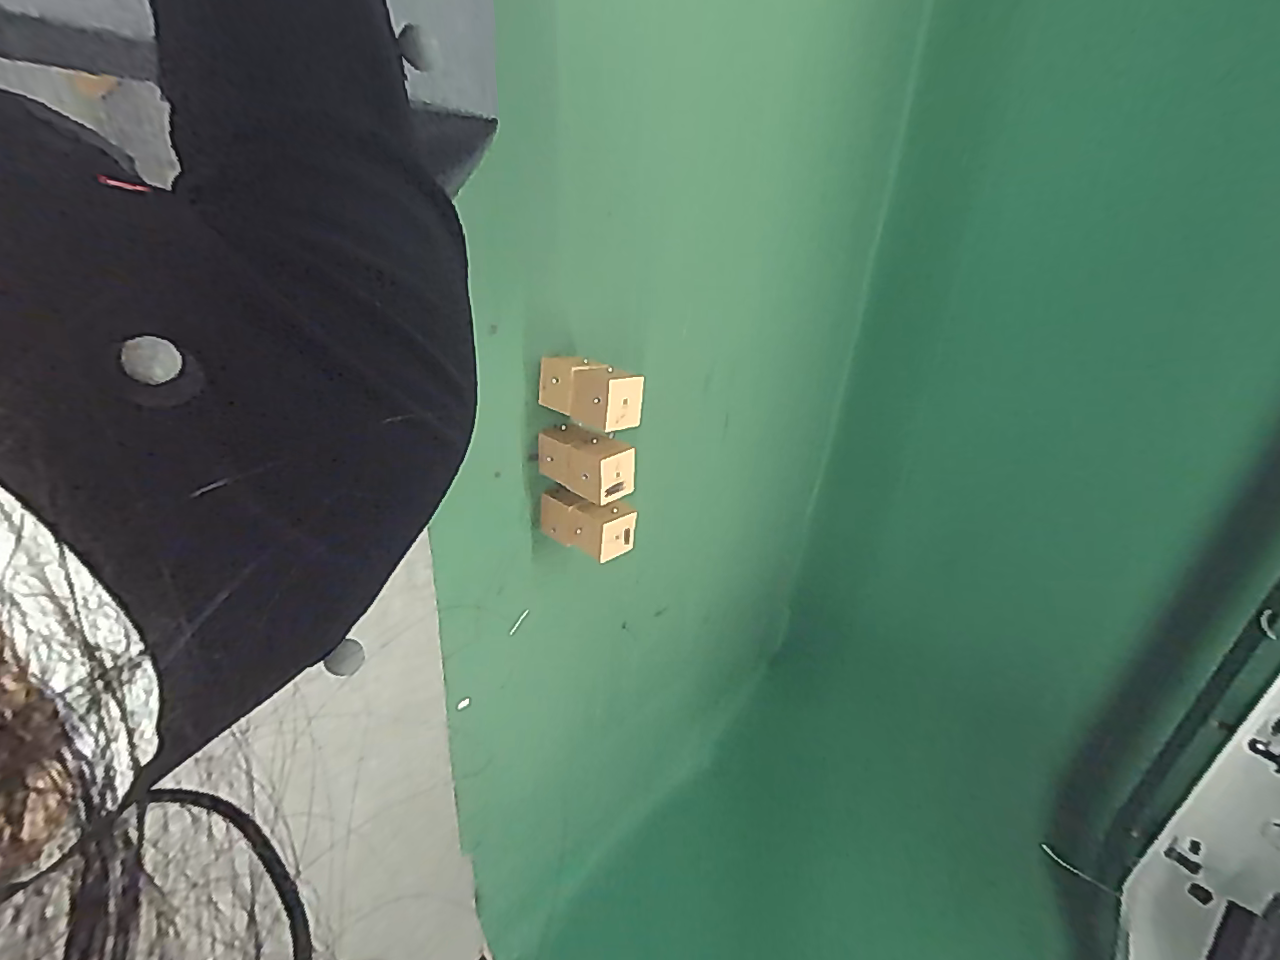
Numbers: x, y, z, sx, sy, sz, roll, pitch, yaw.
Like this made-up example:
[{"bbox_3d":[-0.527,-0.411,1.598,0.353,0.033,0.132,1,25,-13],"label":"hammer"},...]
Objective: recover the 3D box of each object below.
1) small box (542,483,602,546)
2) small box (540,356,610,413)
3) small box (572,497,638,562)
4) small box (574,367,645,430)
[{"bbox_3d":[-0.270,0.131,2.116,0.168,0.176,0.179,-17,121,-45],"label":"small box"},{"bbox_3d":[-0.233,-0.339,1.903,0.179,0.176,0.168,-15,120,-46],"label":"small box"},{"bbox_3d":[-0.134,0.179,2.035,0.179,0.176,0.168,-19,124,-44],"label":"small box"},{"bbox_3d":[-0.106,-0.279,1.815,0.168,0.176,0.179,-16,121,-46],"label":"small box"}]
